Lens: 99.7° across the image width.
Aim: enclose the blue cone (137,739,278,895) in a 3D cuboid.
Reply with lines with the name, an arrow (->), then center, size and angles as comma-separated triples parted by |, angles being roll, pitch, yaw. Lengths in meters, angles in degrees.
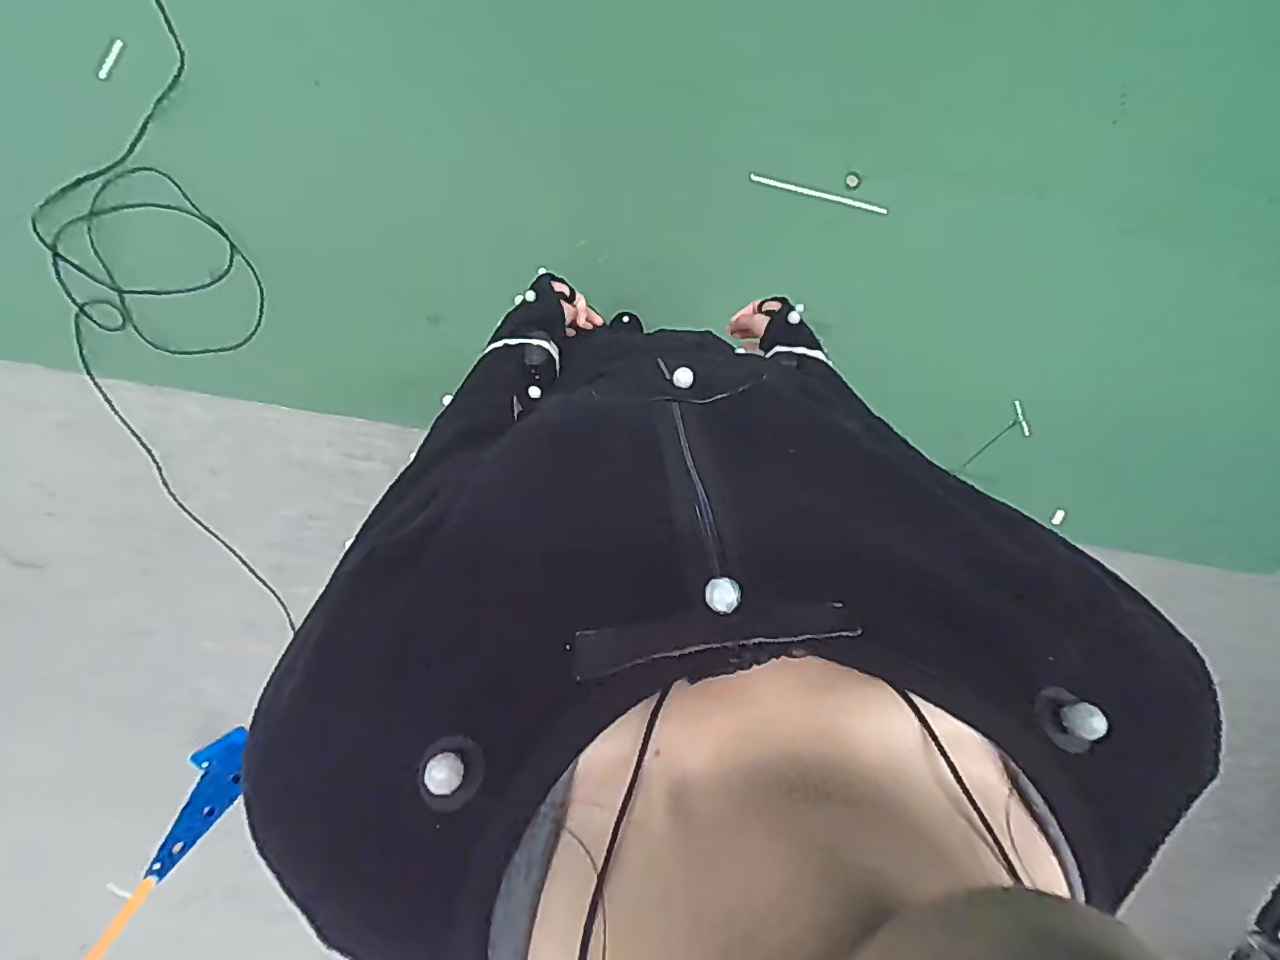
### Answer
blue cone -> -1.201, 0.932, 1.475 | 0.193, 0.380, 0.192 | -33, 108, 6
